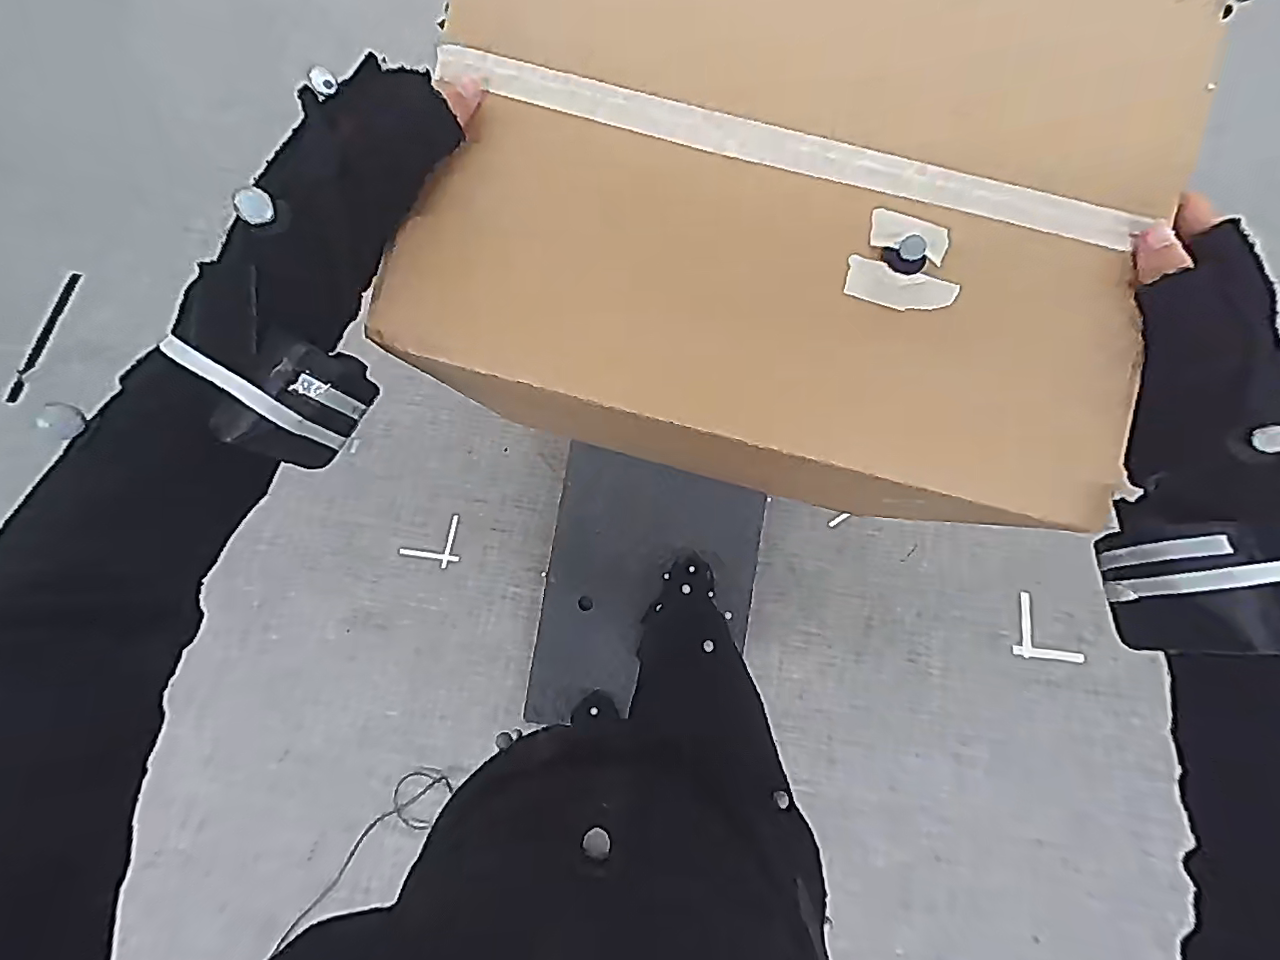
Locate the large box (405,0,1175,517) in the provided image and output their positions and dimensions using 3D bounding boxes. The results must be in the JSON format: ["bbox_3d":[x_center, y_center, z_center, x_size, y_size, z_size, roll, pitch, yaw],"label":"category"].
[{"bbox_3d":[0.089,-0.166,0.464,0.408,0.320,0.320,15,89,0],"label":"large box"}]

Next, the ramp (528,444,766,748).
[{"bbox_3d":[0.049,0.110,1.313,0.509,0.206,0.991,8,77,0],"label":"ramp"}]
